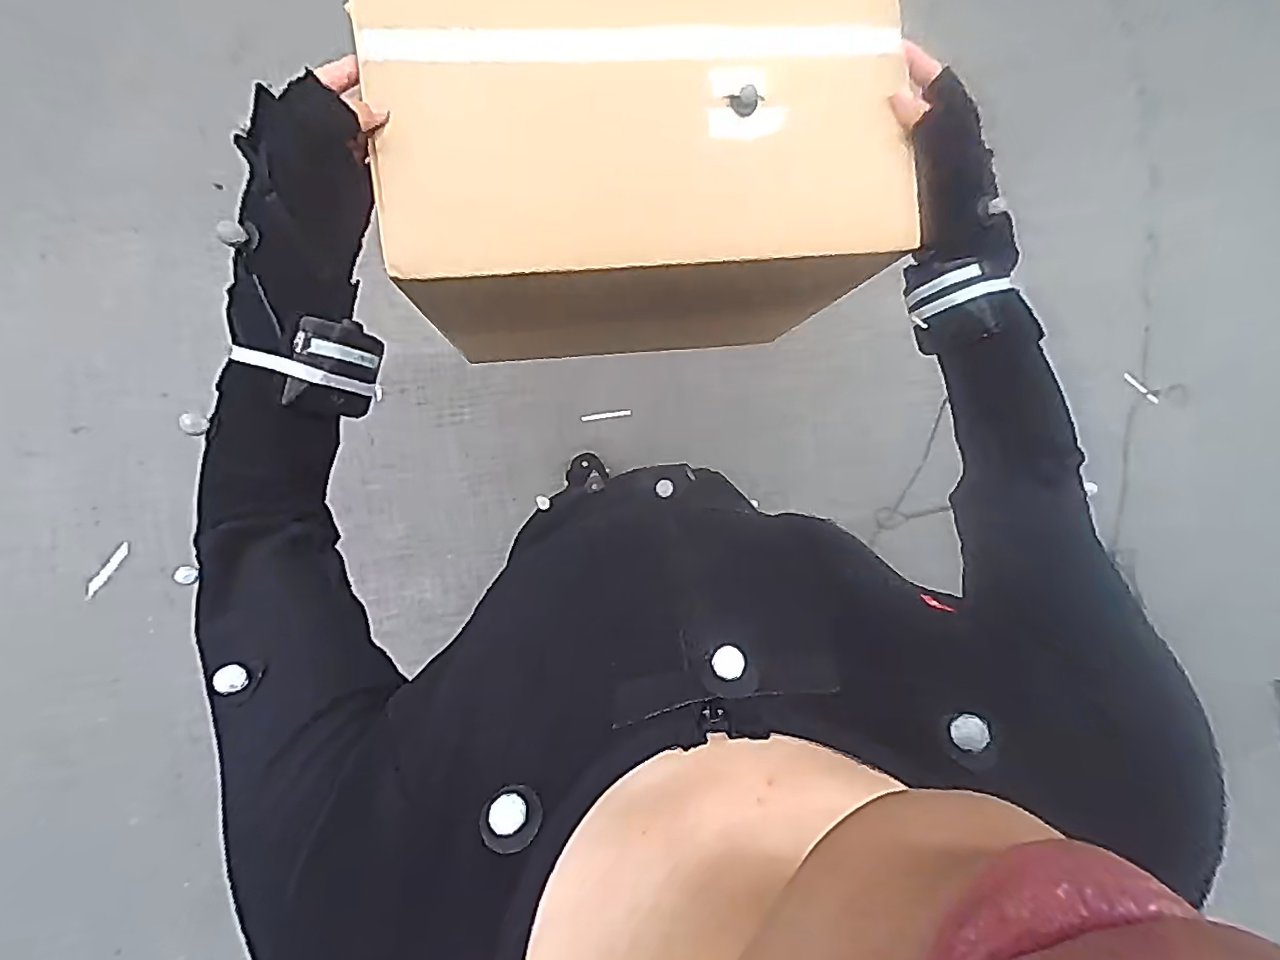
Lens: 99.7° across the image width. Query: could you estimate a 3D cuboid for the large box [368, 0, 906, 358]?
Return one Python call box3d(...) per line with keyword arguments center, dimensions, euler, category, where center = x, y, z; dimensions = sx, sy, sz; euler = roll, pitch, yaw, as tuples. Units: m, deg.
box3d(center=(-0.016, -0.327, 0.558), dimensions=(0.408, 0.320, 0.320), euler=(-7, 92, -8), category="large box")
